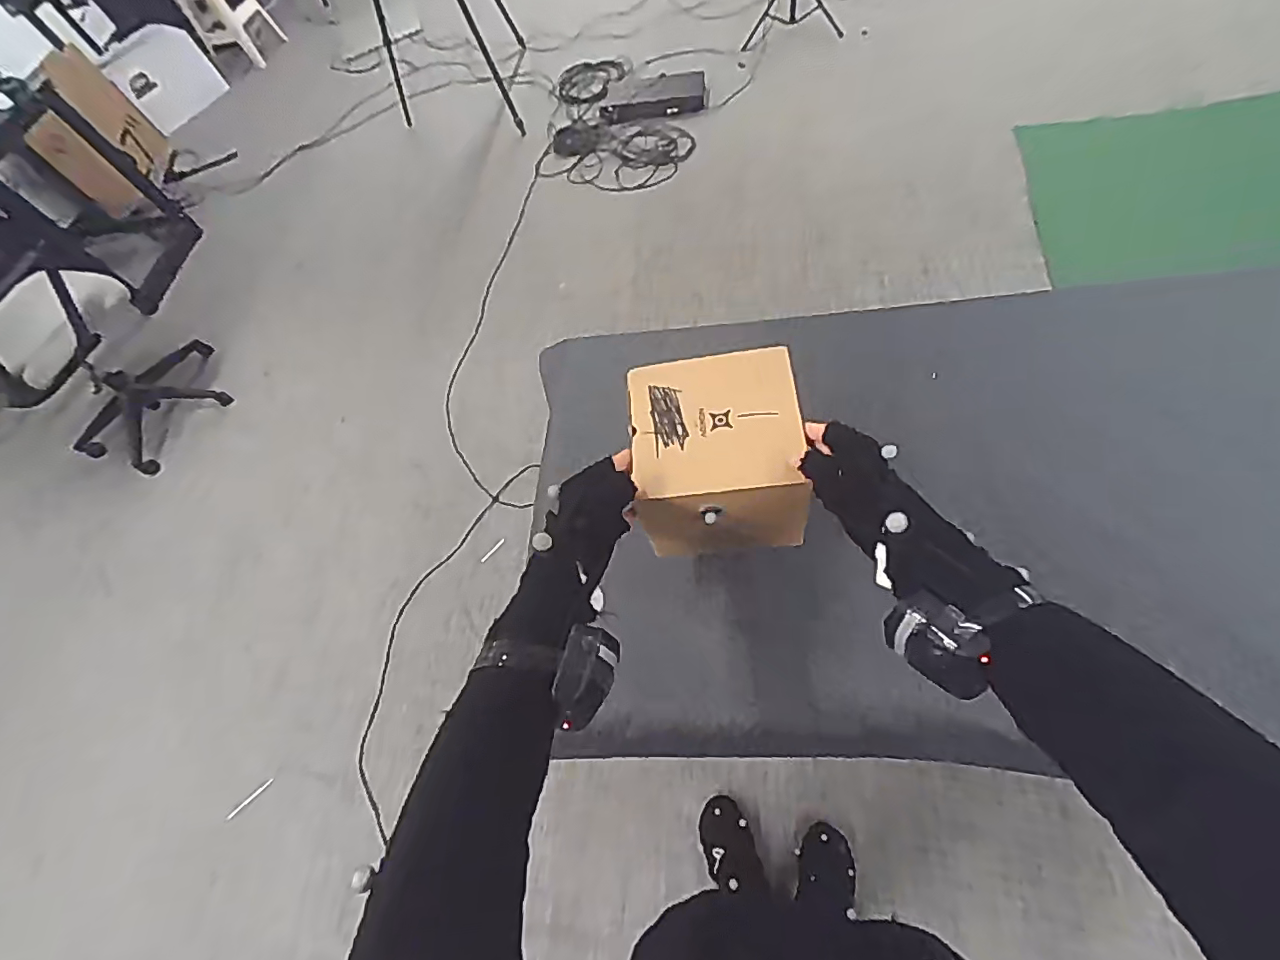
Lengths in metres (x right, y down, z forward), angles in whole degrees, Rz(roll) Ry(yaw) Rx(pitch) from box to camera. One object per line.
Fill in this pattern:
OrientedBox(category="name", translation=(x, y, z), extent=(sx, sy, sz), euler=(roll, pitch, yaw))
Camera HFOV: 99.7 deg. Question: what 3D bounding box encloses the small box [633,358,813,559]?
OrientedBox(category="small box", translation=(0.094, -0.015, 0.628), extent=(0.179, 0.176, 0.168), euler=(-6, 62, 9))
